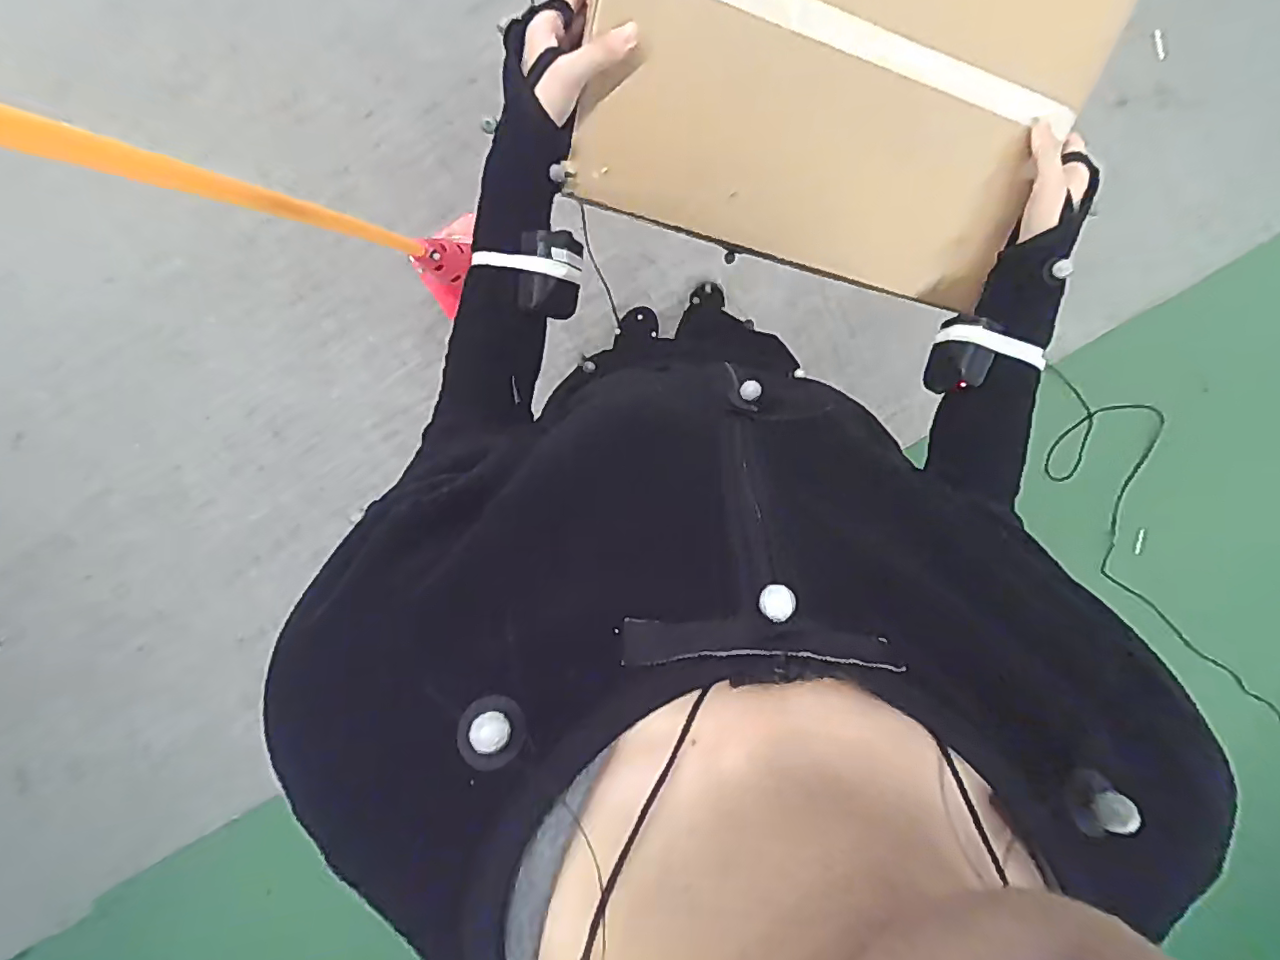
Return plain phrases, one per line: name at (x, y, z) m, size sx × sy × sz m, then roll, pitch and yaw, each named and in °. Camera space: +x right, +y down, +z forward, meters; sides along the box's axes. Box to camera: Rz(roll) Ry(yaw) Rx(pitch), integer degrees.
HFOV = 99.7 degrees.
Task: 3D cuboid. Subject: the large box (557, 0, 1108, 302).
large box at (0.143, -0.409, 0.557) m, size 0.408 × 0.320 × 0.320 m, roll 11°, pitch 115°, yaw -13°
